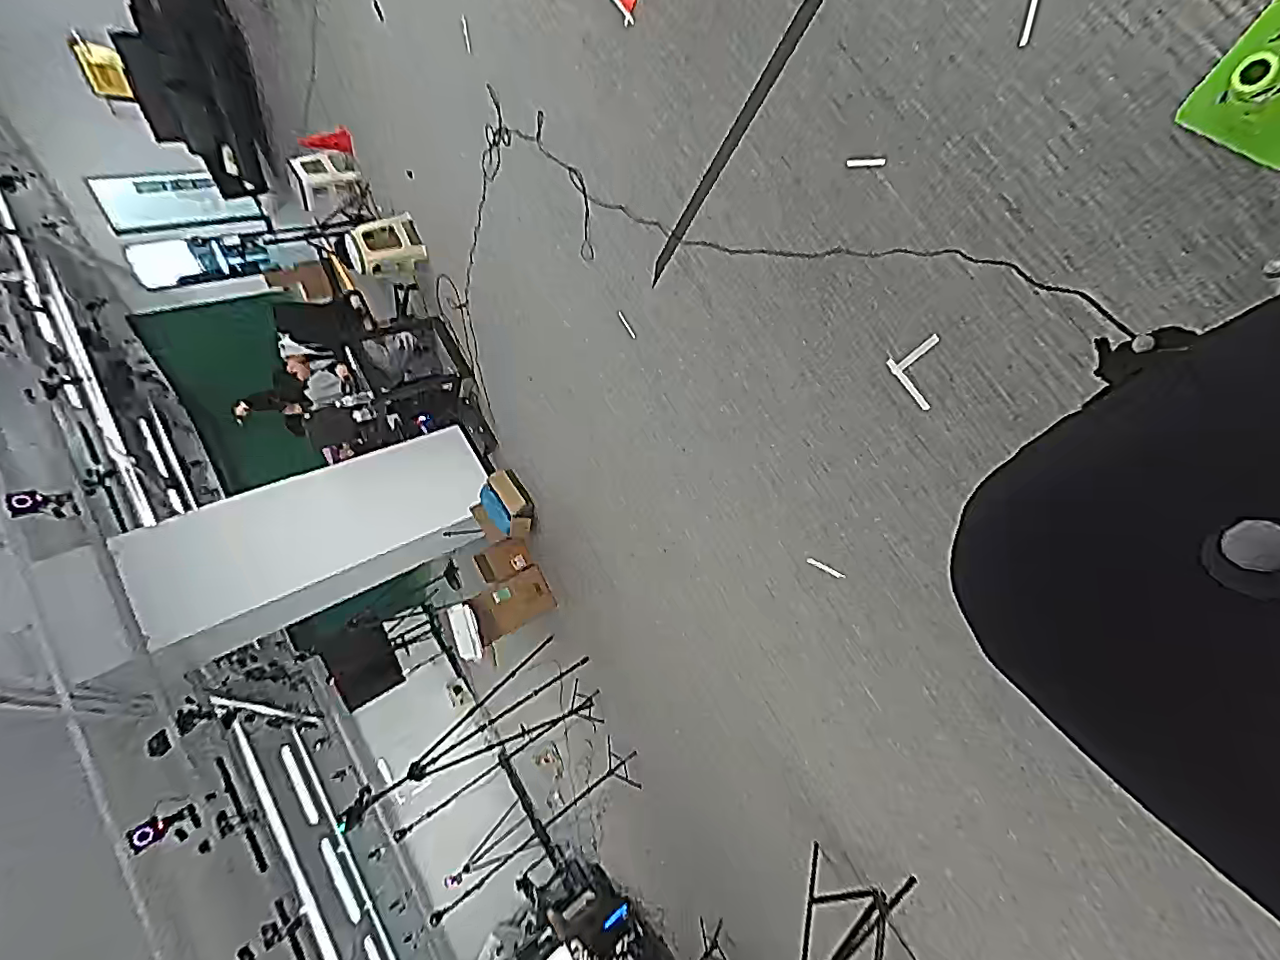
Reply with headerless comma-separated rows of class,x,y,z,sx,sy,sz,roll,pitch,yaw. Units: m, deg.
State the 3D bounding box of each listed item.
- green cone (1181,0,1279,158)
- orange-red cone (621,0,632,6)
green cone,0.871,-0.568,0.740,0.200,0.368,0.202,50,148,23
orange-red cone,-0.174,-1.581,1.597,0.198,0.360,0.199,62,148,3
